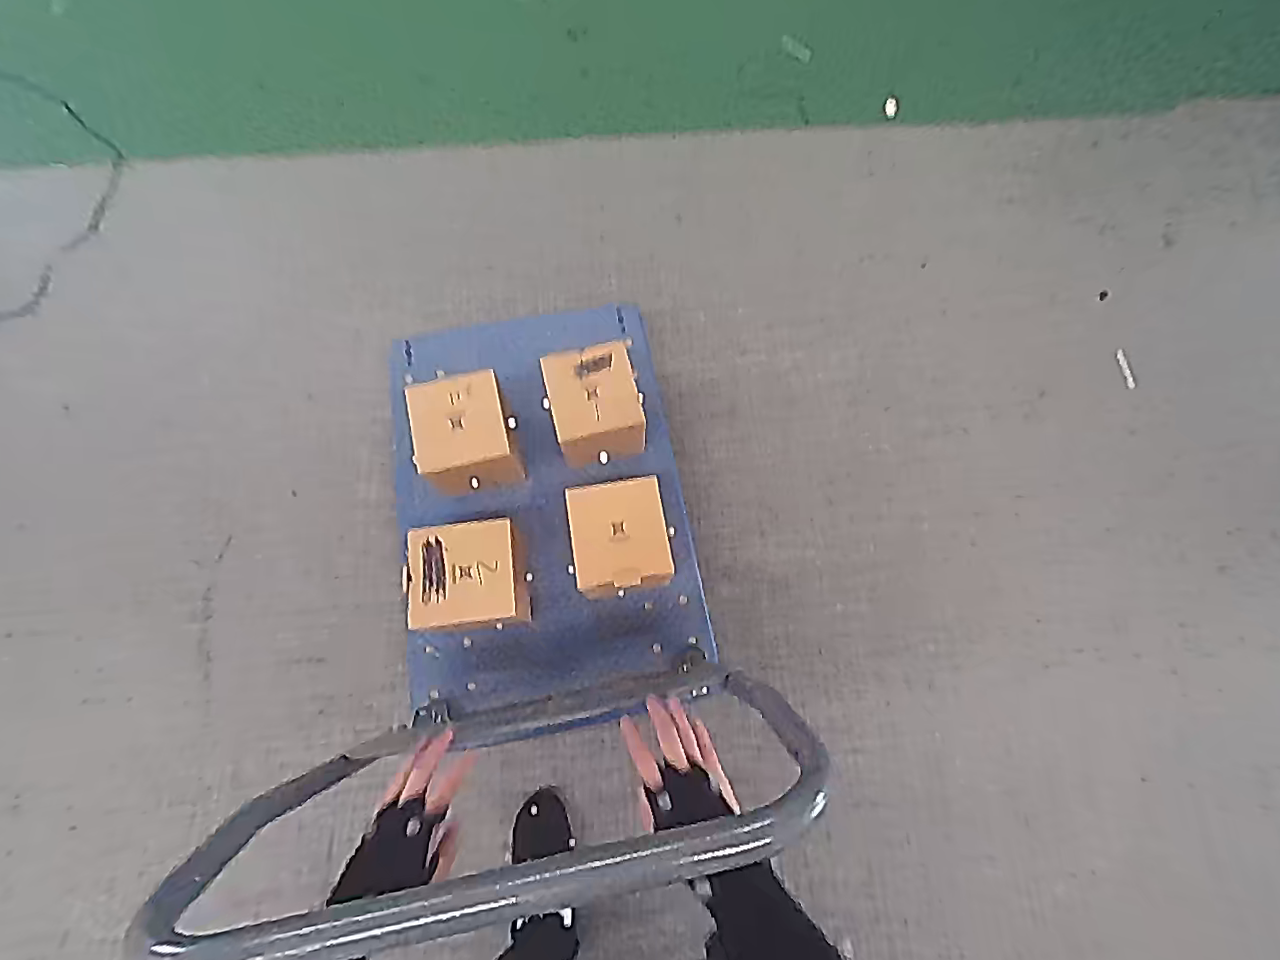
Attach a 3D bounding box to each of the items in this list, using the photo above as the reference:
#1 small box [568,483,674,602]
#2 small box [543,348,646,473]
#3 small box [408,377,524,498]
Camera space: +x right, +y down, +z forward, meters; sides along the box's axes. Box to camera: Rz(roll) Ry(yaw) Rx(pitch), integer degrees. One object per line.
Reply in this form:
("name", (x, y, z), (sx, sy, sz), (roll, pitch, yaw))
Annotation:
("small box", (-0.038, 0.122, 1.005), (0.168, 0.176, 0.179), (-9, 73, -4))
("small box", (-0.089, -0.133, 1.082), (0.168, 0.176, 0.179), (-13, 74, -5))
("small box", (-0.332, -0.073, 1.058), (0.168, 0.176, 0.179), (-13, 73, -6))
